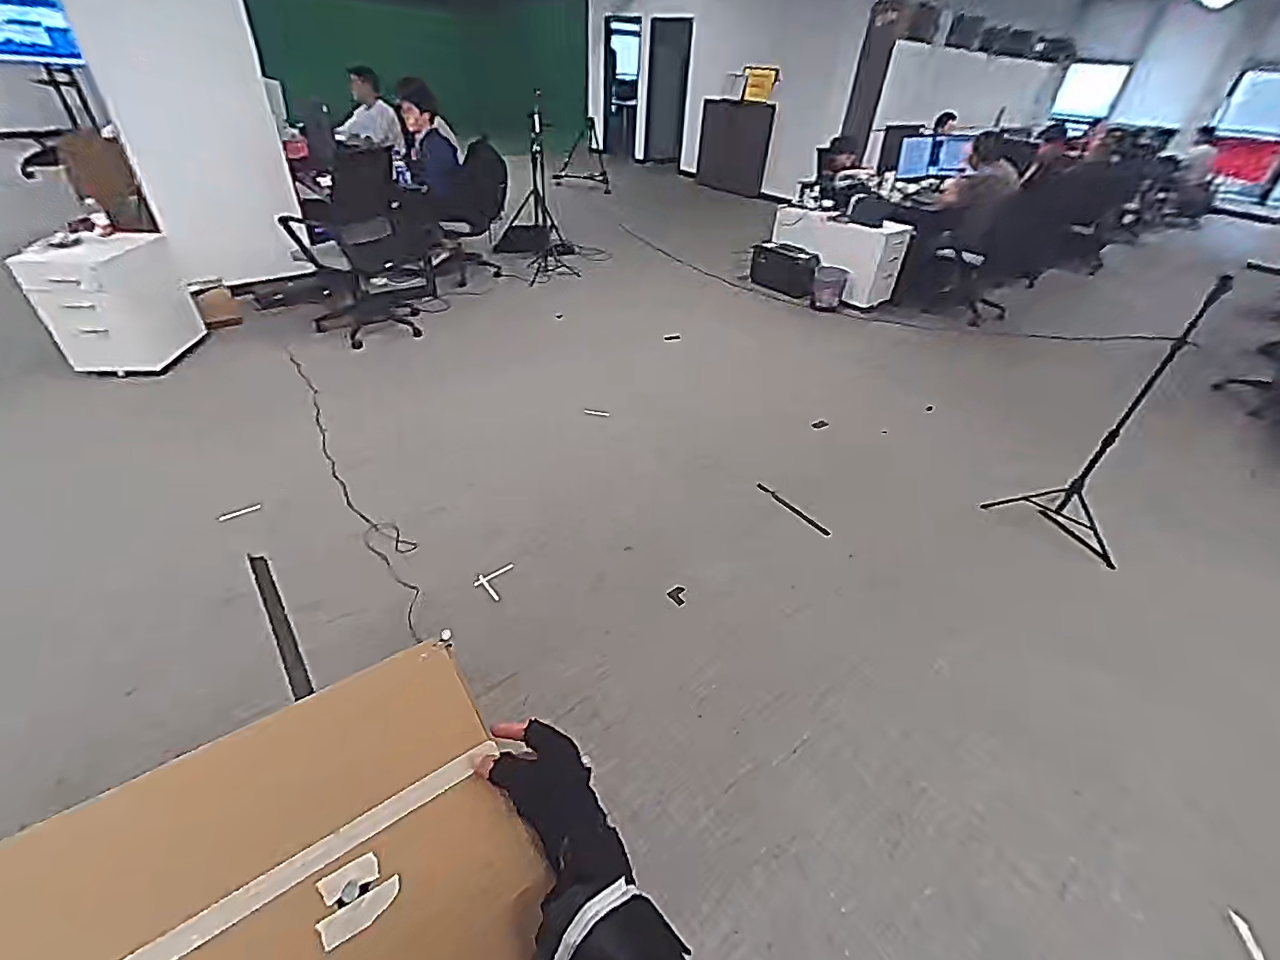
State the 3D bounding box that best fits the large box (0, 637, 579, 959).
[{"bbox_3d":[-0.306,0.442,0.528,0.408,0.320,0.320,-22,46,-29],"label":"large box"}]
